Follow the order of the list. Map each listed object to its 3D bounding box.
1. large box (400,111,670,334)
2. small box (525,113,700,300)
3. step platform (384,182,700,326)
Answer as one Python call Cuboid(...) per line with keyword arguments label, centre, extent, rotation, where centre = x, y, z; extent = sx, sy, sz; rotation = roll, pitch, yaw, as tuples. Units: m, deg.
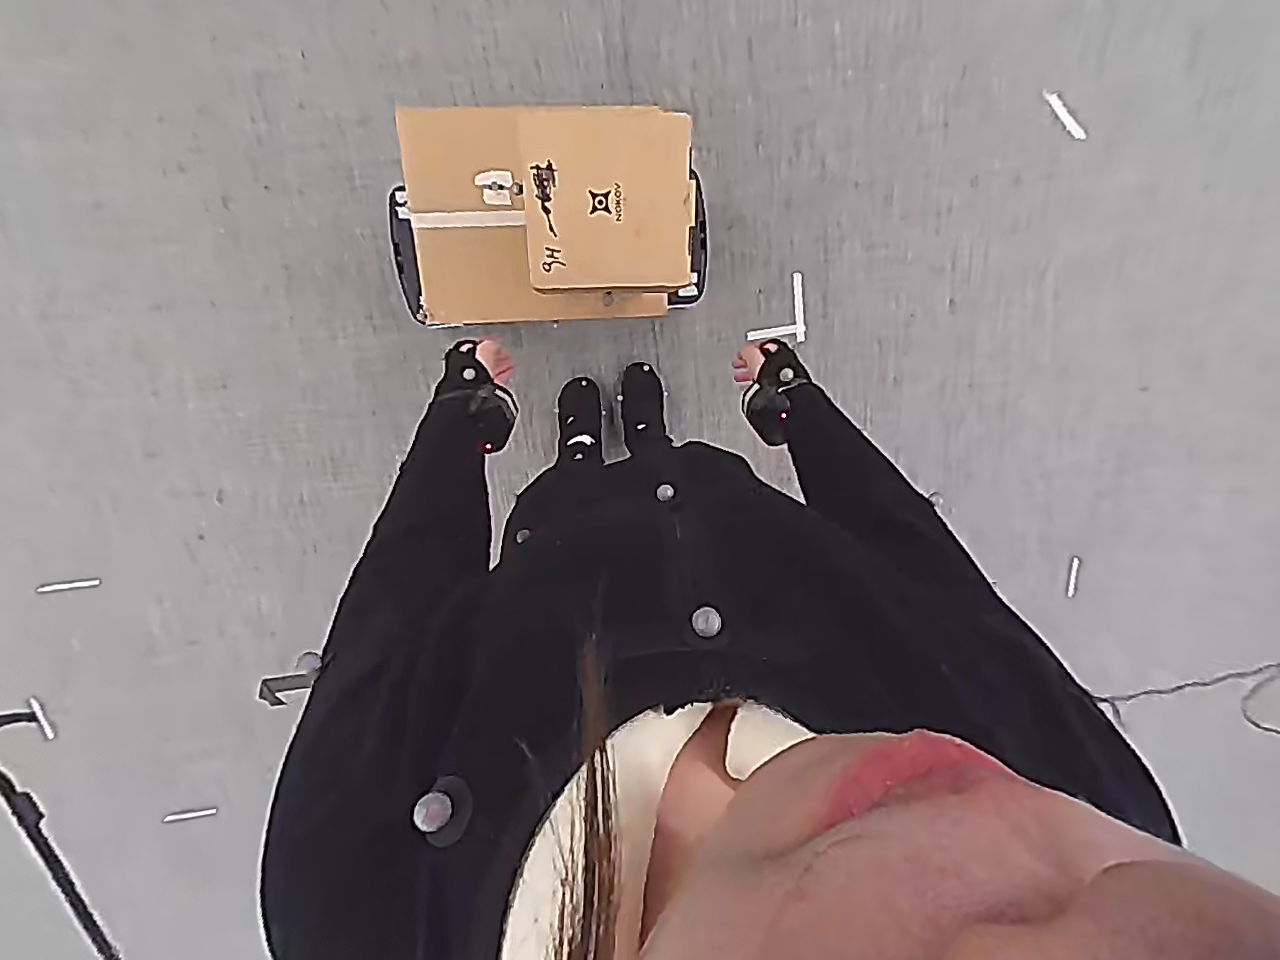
Cuboid(label="large box", centre=(-0.164, -0.446, 1.002), extent=(0.408, 0.320, 0.320), rotation=(-4, 106, -4))
Cuboid(label="small box", centre=(-0.035, -0.302, 0.629), extent=(0.179, 0.176, 0.168), rotation=(-3, 106, -6))
Cuboid(label="step platform", centre=(-0.206, -0.500, 1.231), extent=(0.684, 0.204, 0.286), rotation=(-1, 106, -4))
